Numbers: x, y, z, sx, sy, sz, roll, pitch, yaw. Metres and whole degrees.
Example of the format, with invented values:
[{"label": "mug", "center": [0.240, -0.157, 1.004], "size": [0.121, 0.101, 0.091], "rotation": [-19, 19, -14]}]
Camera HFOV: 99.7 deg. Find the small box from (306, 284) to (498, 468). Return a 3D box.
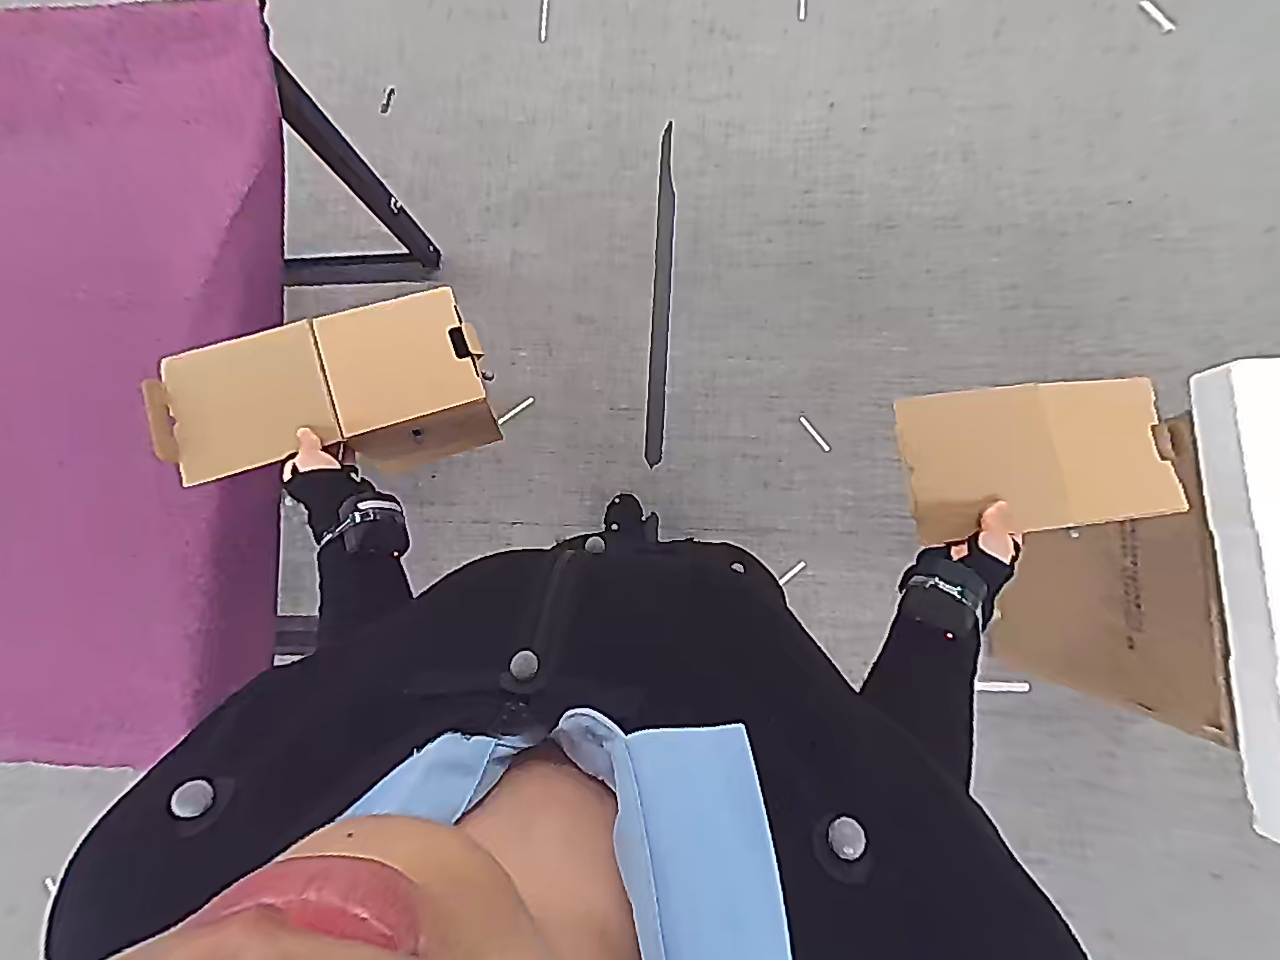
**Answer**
[{"label": "small box", "center": [-0.307, -0.130, 0.730], "size": [0.179, 0.176, 0.168], "rotation": [-18, 80, -12]}]
